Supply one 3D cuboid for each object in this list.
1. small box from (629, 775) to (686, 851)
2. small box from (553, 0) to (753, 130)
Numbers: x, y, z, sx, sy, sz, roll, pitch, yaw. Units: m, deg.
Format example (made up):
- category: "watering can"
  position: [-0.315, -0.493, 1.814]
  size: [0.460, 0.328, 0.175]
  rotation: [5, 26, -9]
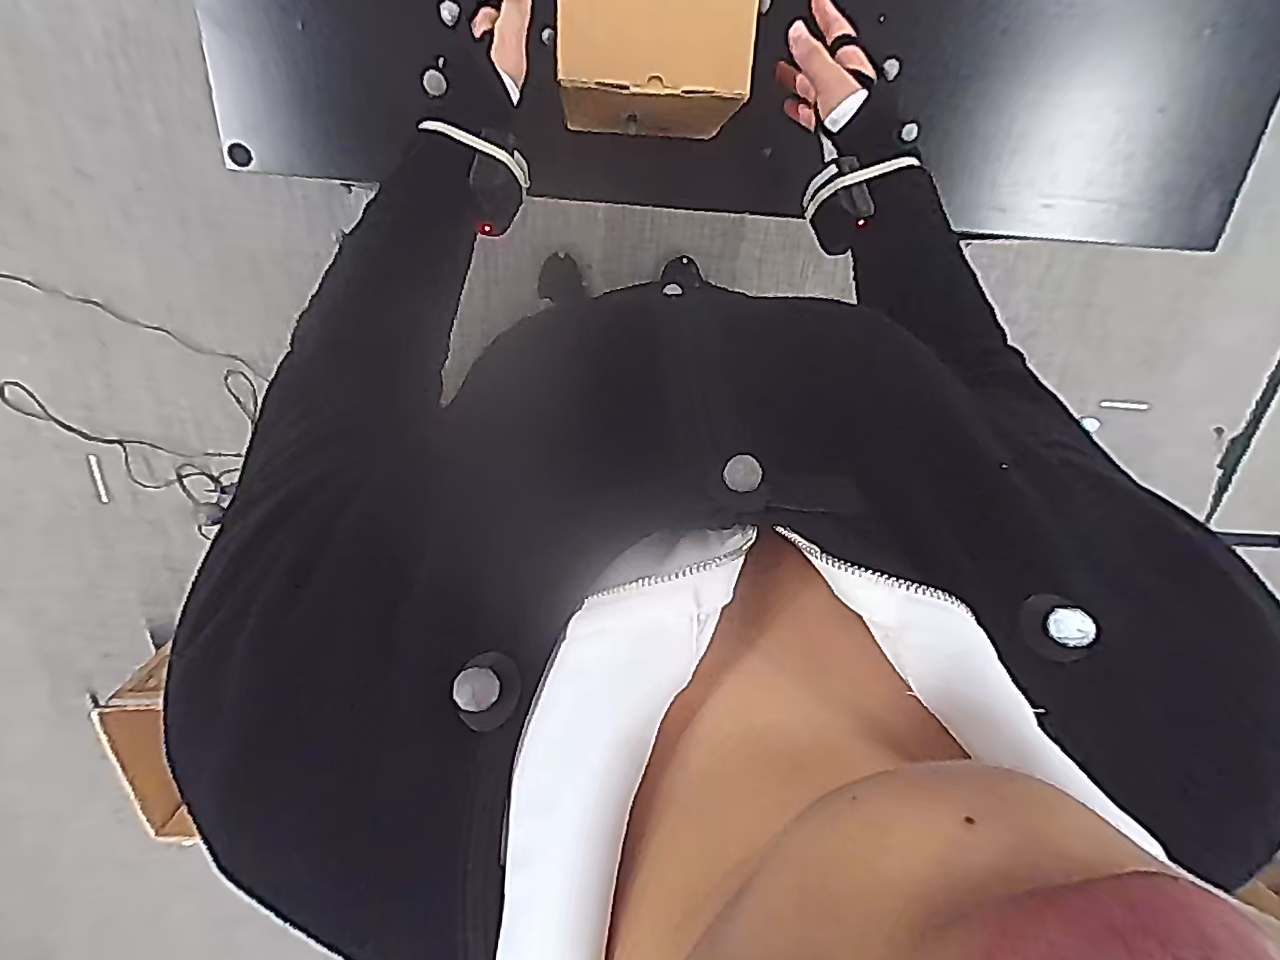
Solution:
- category: "small box"
  position: [0.056, 1.187, 1.933]
  size: [0.179, 0.176, 0.168]
  rotation: [5, 110, -5]
- category: "small box"
  position: [0.007, -0.448, 0.499]
  size: [0.168, 0.176, 0.179]
  rotation: [1, 113, -5]
